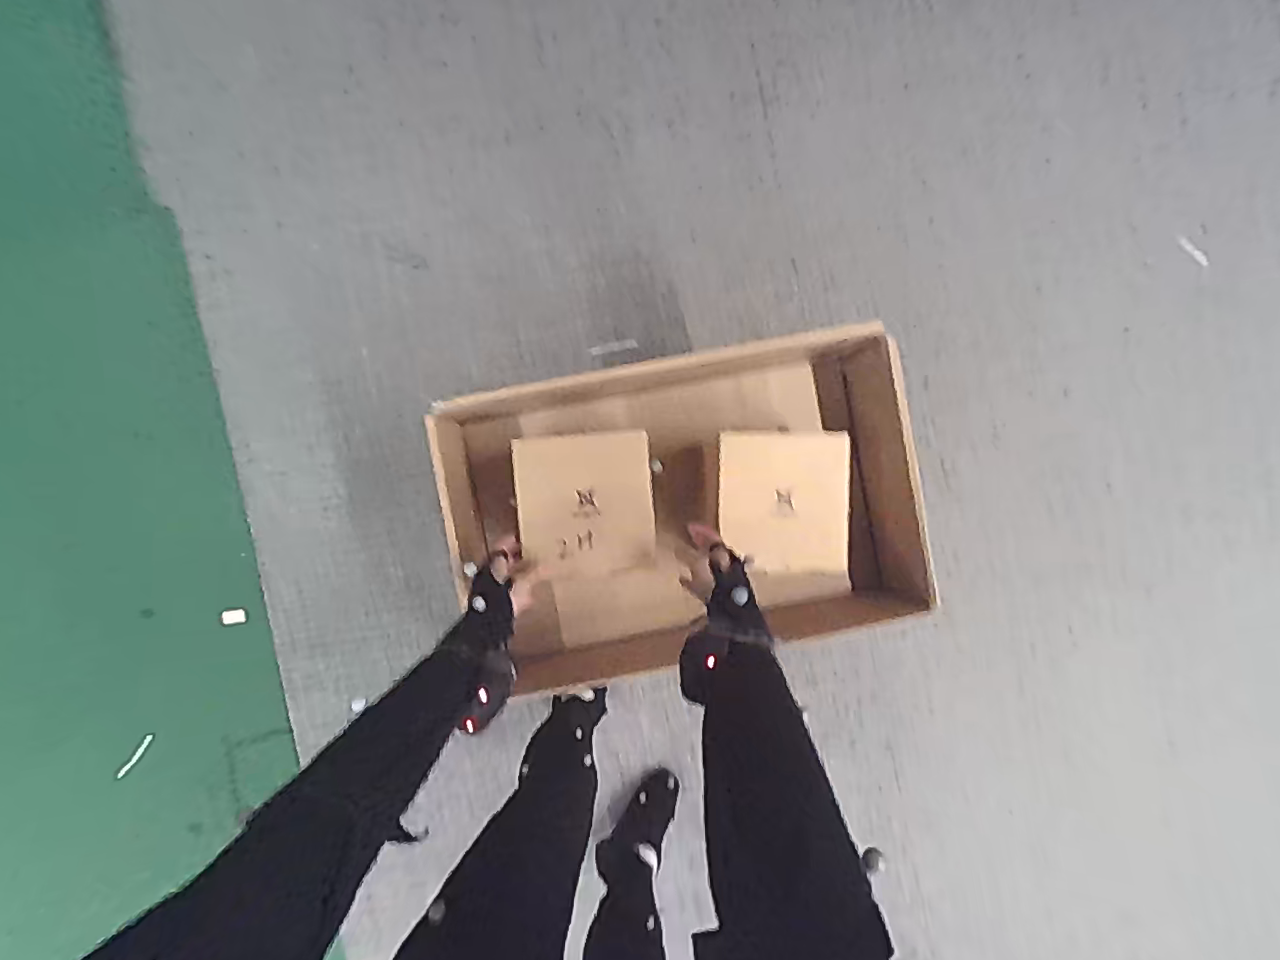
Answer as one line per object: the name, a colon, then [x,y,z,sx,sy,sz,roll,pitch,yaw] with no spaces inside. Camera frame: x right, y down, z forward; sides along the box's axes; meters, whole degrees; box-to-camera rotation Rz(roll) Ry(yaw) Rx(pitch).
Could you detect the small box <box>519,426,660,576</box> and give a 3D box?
small box: [-0.066,0.024,0.735,0.168,0.176,0.179,-4,92,-2]
